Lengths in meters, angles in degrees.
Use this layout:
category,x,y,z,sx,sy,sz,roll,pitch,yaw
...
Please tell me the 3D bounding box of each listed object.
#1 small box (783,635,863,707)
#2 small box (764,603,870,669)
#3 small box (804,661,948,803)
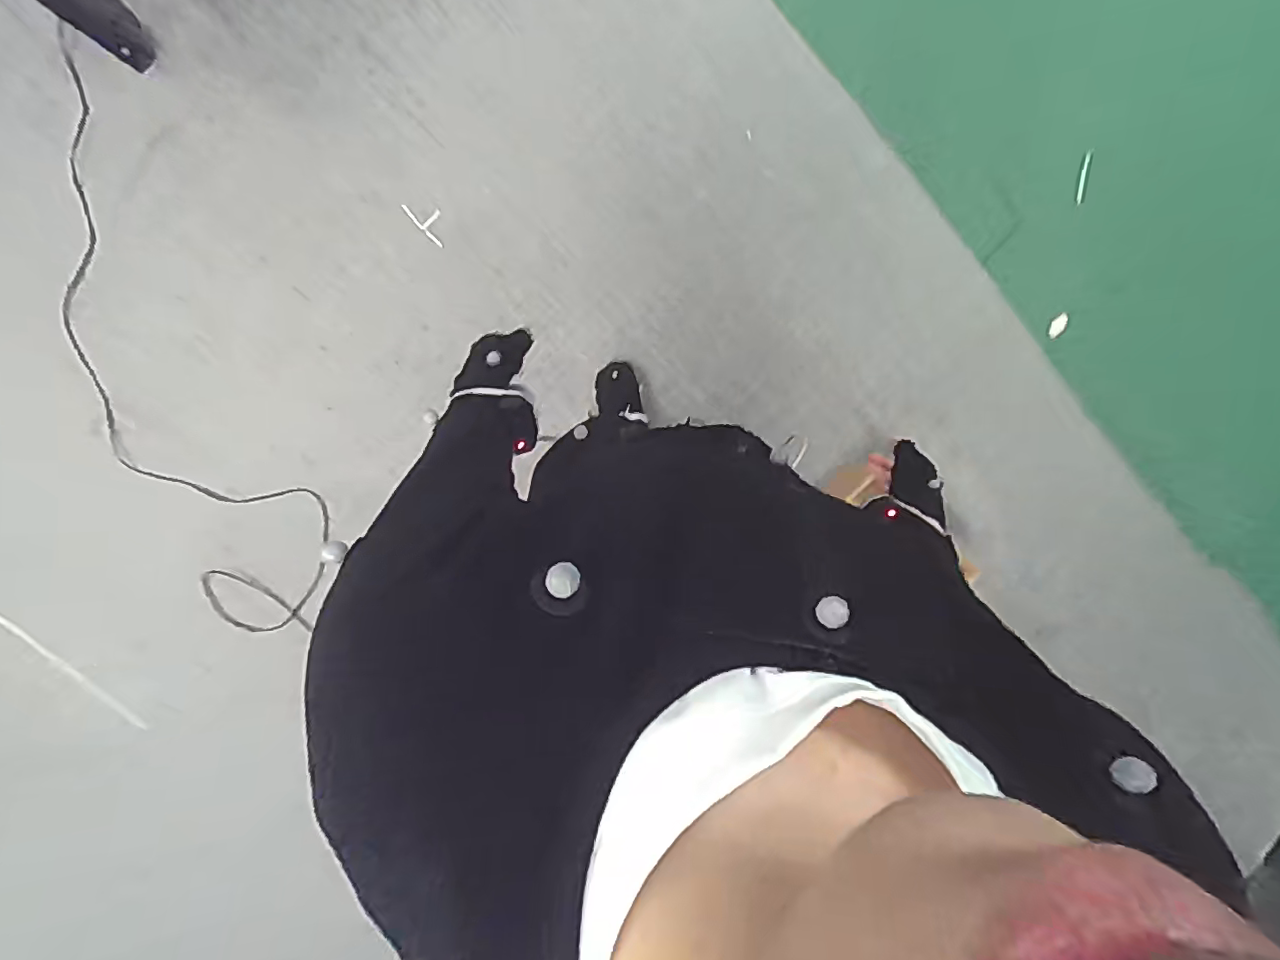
category,x,y,z,sx,sy,sz,roll,pitch,yaw
small box,0.463,0.485,1.253,0.168,0.176,0.179,-45,98,2
small box,0.459,0.450,1.432,0.179,0.176,0.168,40,92,-9
small box,0.470,0.498,1.106,0.168,0.176,0.179,-44,98,3
